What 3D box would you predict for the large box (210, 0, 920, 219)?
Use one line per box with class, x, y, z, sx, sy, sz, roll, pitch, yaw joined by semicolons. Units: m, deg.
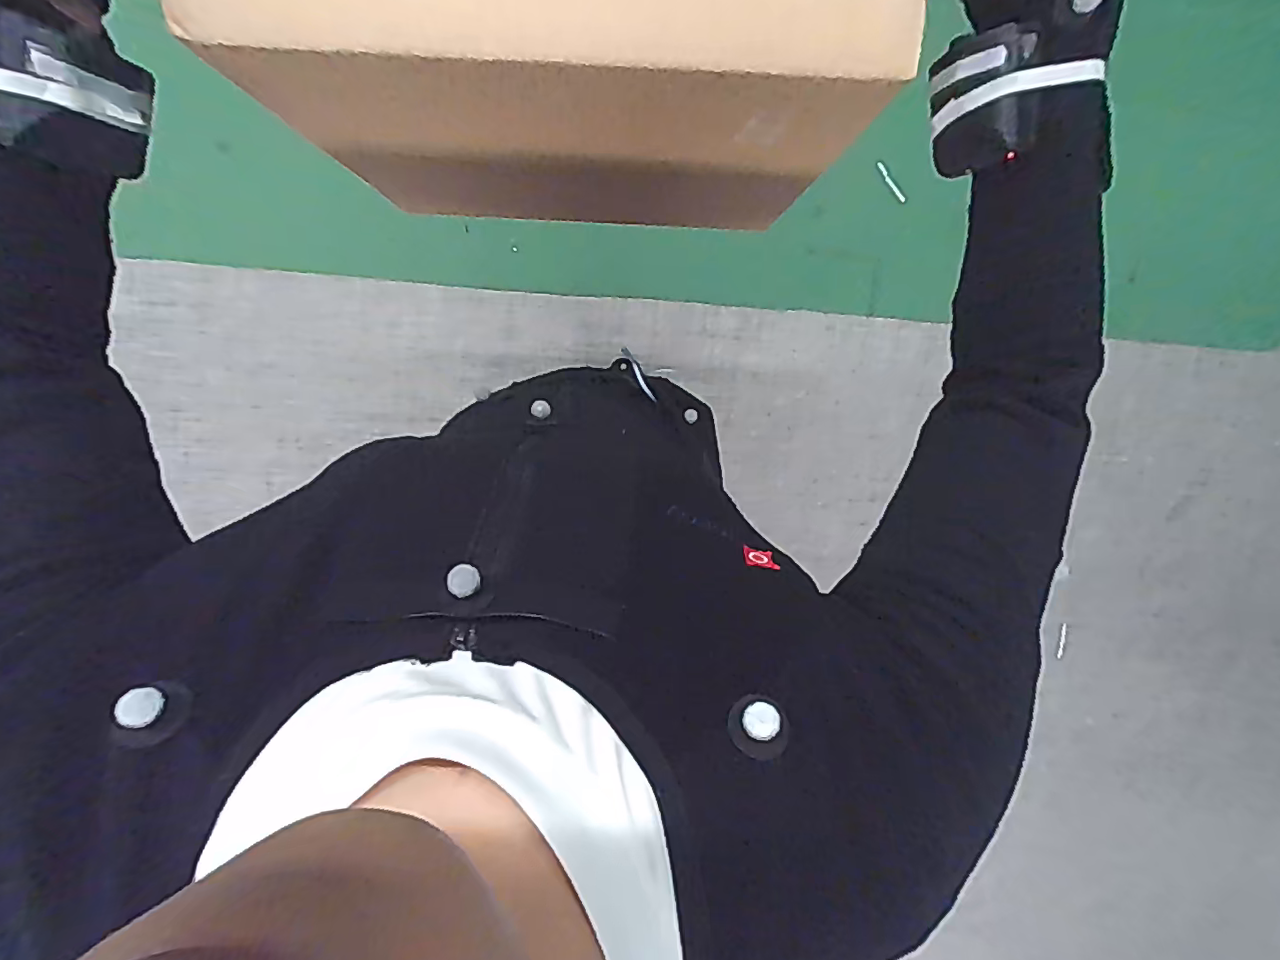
large box;-0.043;-0.415;0.427;0.408;0.320;0.320;1;101;-2
